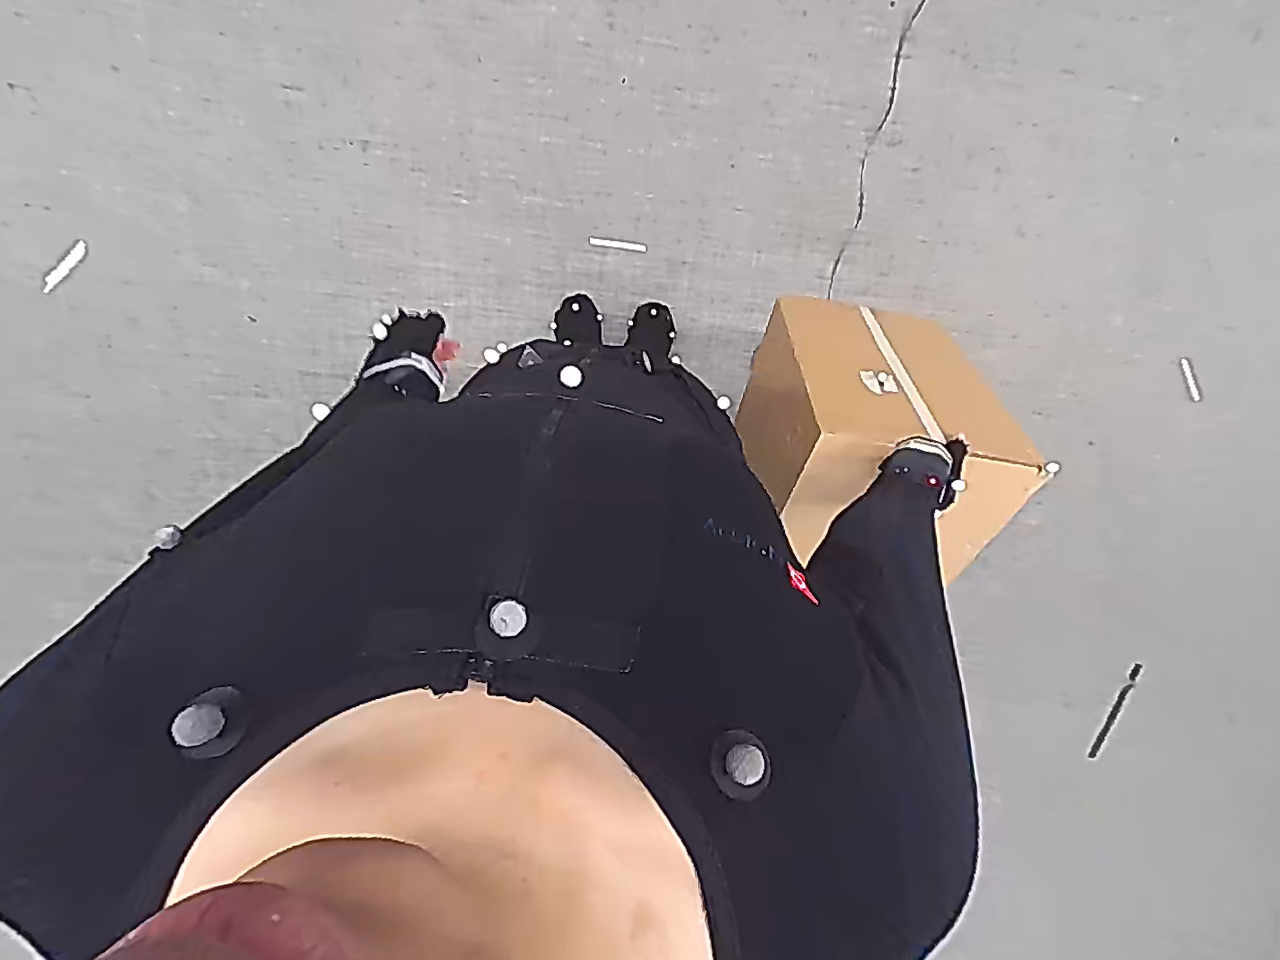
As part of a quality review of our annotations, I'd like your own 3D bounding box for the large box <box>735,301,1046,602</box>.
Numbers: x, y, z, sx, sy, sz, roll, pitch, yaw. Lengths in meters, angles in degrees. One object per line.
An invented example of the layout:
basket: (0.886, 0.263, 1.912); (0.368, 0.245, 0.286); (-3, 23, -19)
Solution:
large box: (0.372, -0.056, 0.945); (0.320, 0.408, 0.320); (9, 134, -4)
